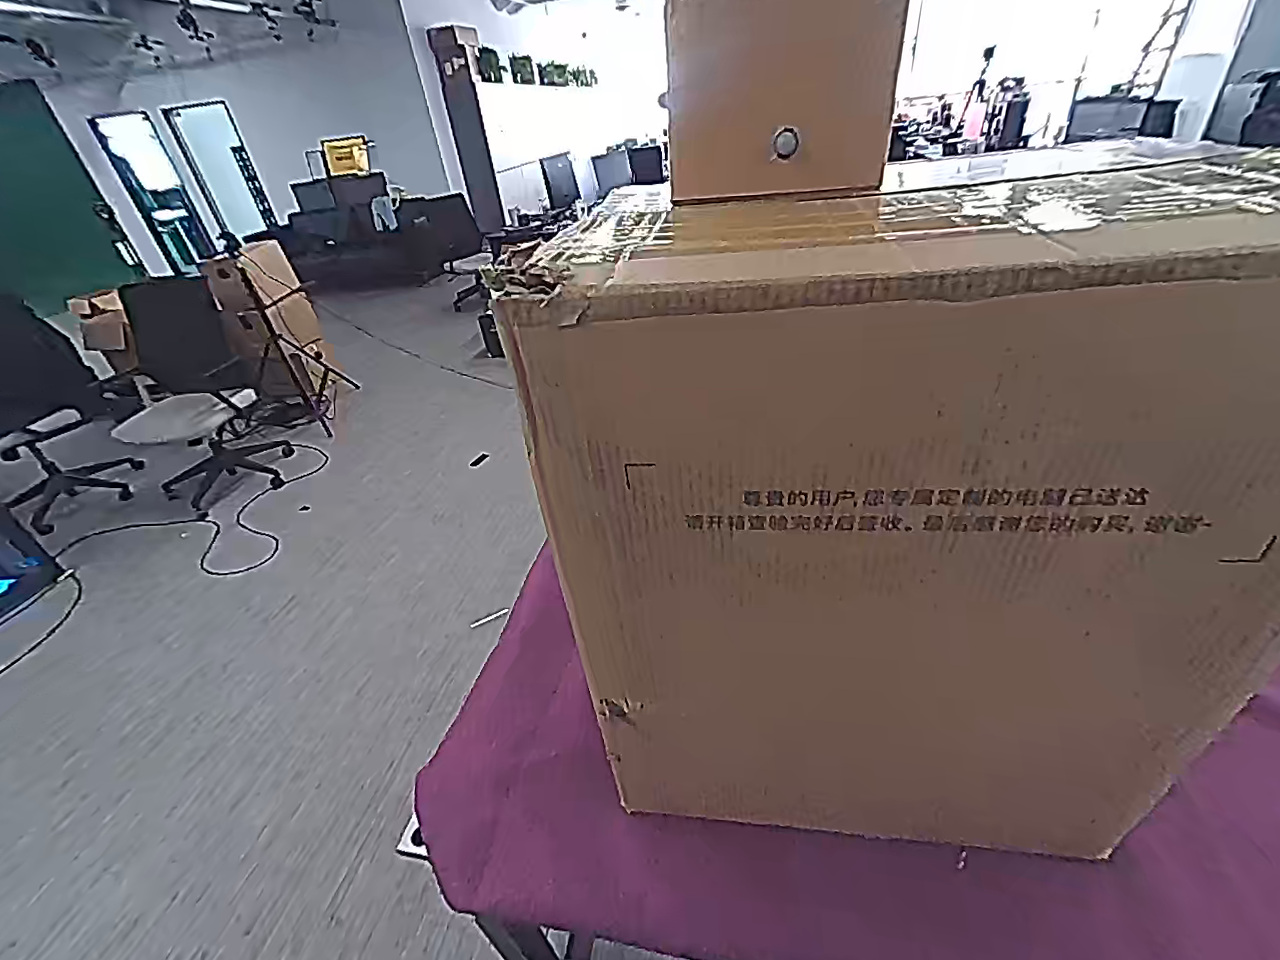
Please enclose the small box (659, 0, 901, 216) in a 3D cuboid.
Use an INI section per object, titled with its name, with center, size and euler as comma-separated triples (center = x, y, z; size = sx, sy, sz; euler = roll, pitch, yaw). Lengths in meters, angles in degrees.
[small box]
center = 0.113, -0.343, 0.477
size = 0.179, 0.176, 0.168
euler = 1, 35, 11
